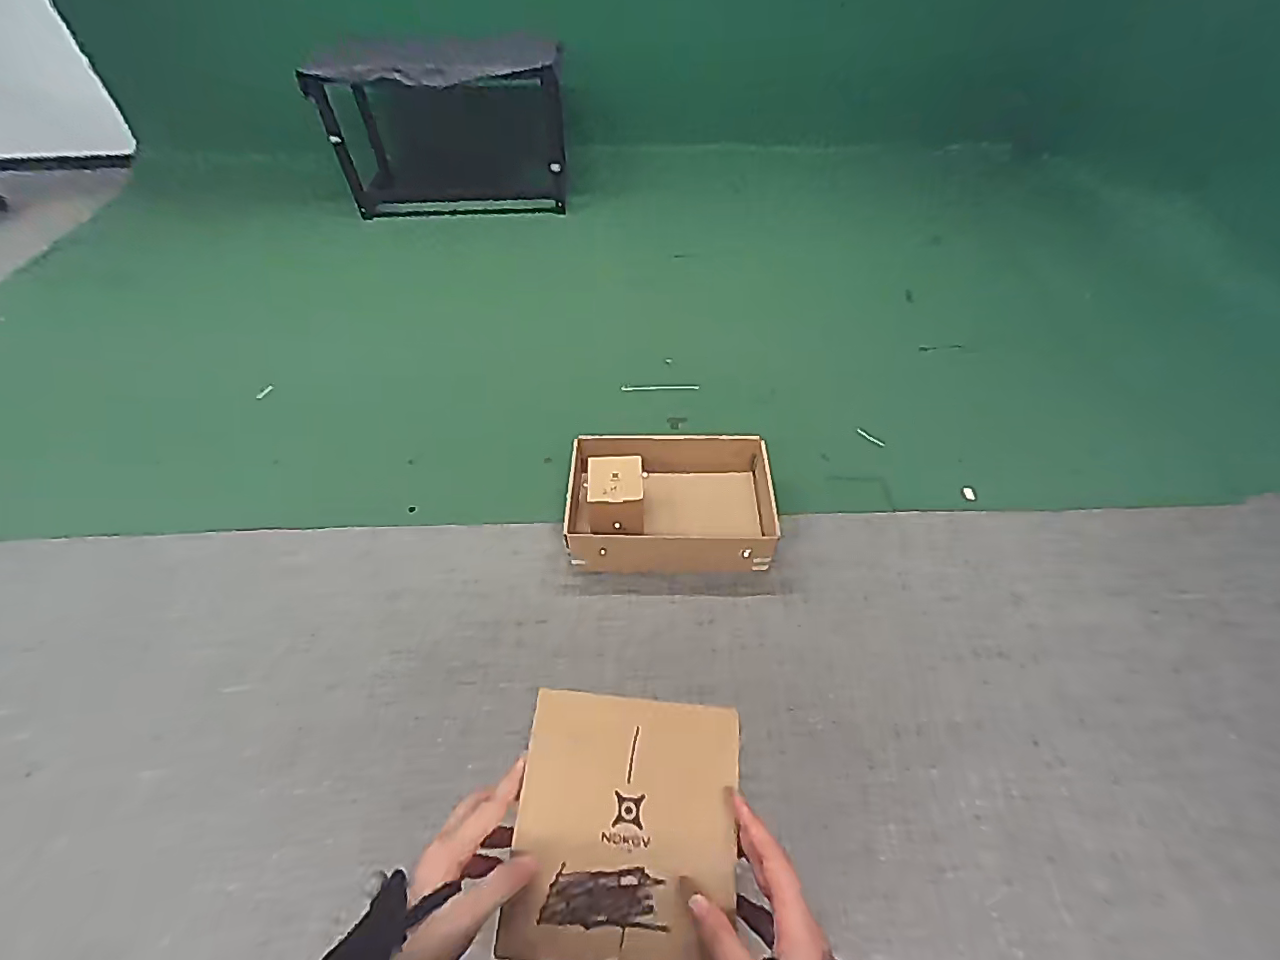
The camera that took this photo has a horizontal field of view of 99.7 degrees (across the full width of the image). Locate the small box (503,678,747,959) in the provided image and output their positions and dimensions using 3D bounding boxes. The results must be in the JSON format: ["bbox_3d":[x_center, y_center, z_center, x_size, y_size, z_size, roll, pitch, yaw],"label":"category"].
[{"bbox_3d":[-0.003,0.283,0.473,0.168,0.176,0.179,6,64,3],"label":"small box"}]

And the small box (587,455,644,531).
[{"bbox_3d":[-0.073,0.041,1.672,0.168,0.176,0.179,-2,51,-1],"label":"small box"}]
